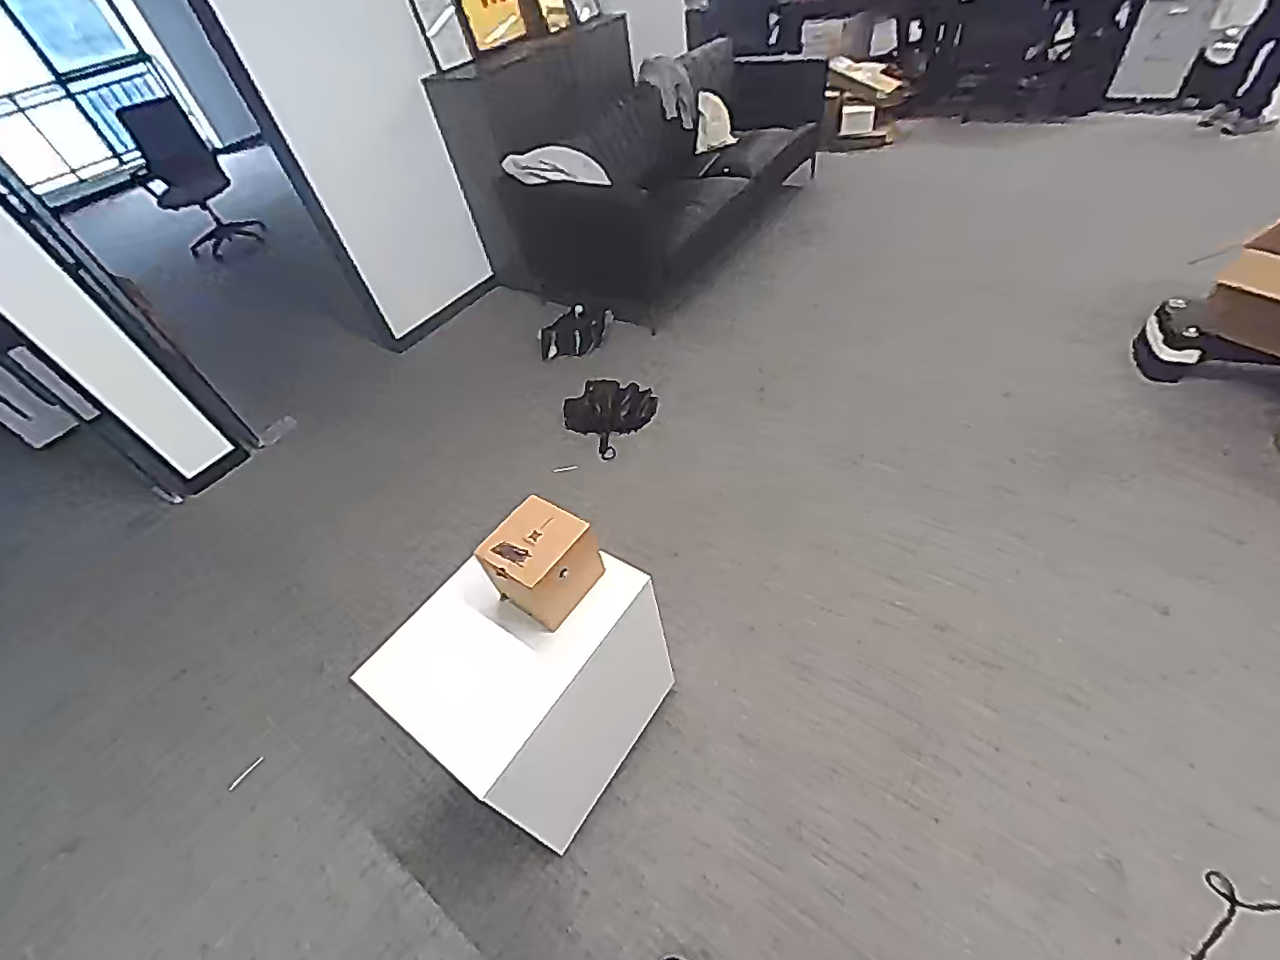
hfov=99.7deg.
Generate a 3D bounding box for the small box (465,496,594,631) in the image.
[{"bbox_3d":[-0.210,0.169,1.085,0.168,0.176,0.179,24,53,27],"label":"small box"}]
